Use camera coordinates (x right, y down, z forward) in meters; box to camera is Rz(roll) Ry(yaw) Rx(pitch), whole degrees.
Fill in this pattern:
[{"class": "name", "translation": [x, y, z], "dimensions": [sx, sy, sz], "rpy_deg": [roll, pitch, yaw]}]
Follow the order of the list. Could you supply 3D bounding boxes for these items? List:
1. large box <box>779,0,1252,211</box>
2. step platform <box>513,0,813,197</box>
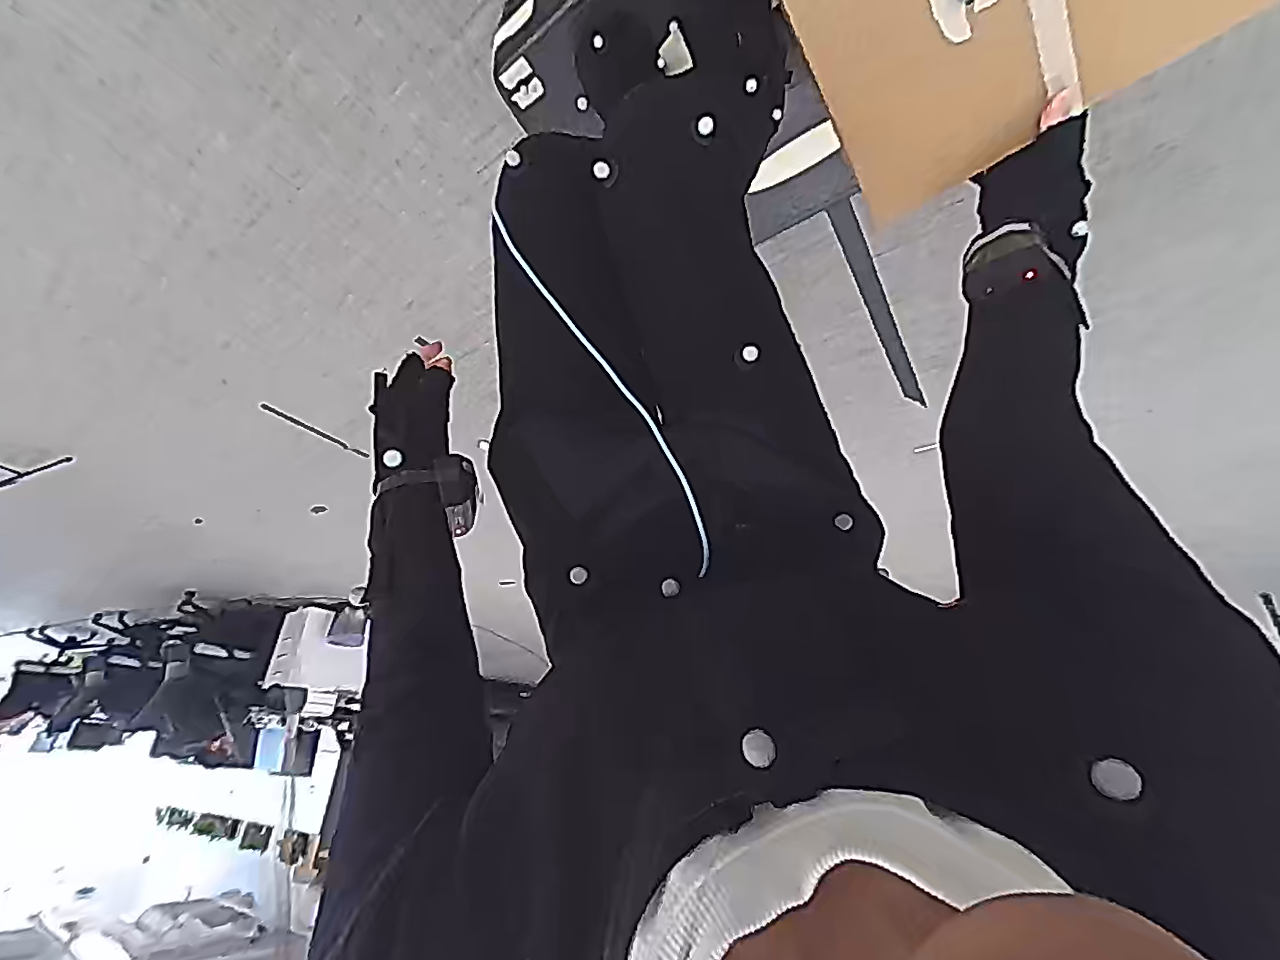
[{"class": "large box", "translation": [0.258, -0.542, 0.456], "dimensions": [0.320, 0.320, 0.408], "rpy_deg": [-22, 130, 32]}, {"class": "step platform", "translation": [0.144, -0.703, 0.734], "dimensions": [0.684, 0.204, 0.286], "rpy_deg": [-19, 145, 32]}]
